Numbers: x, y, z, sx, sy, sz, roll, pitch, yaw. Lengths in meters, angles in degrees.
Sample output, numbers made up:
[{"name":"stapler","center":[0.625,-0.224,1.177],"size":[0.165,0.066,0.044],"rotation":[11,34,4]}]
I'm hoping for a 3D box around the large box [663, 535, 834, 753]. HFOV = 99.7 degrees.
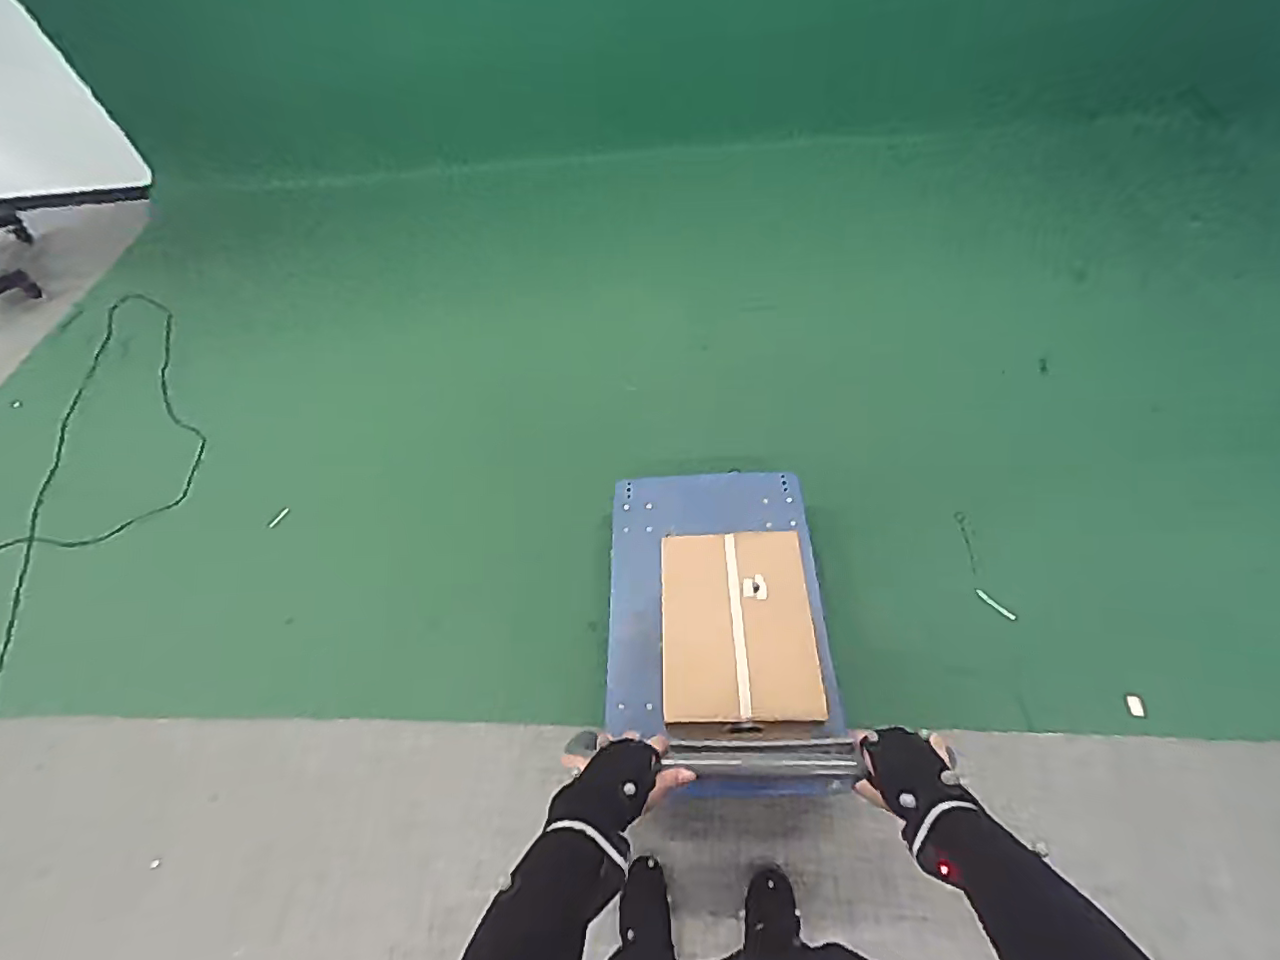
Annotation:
[{"name":"large box","center":[0.222,0.381,1.245],"size":[0.320,0.320,0.408],"rotation":[-2,55,4]}]
